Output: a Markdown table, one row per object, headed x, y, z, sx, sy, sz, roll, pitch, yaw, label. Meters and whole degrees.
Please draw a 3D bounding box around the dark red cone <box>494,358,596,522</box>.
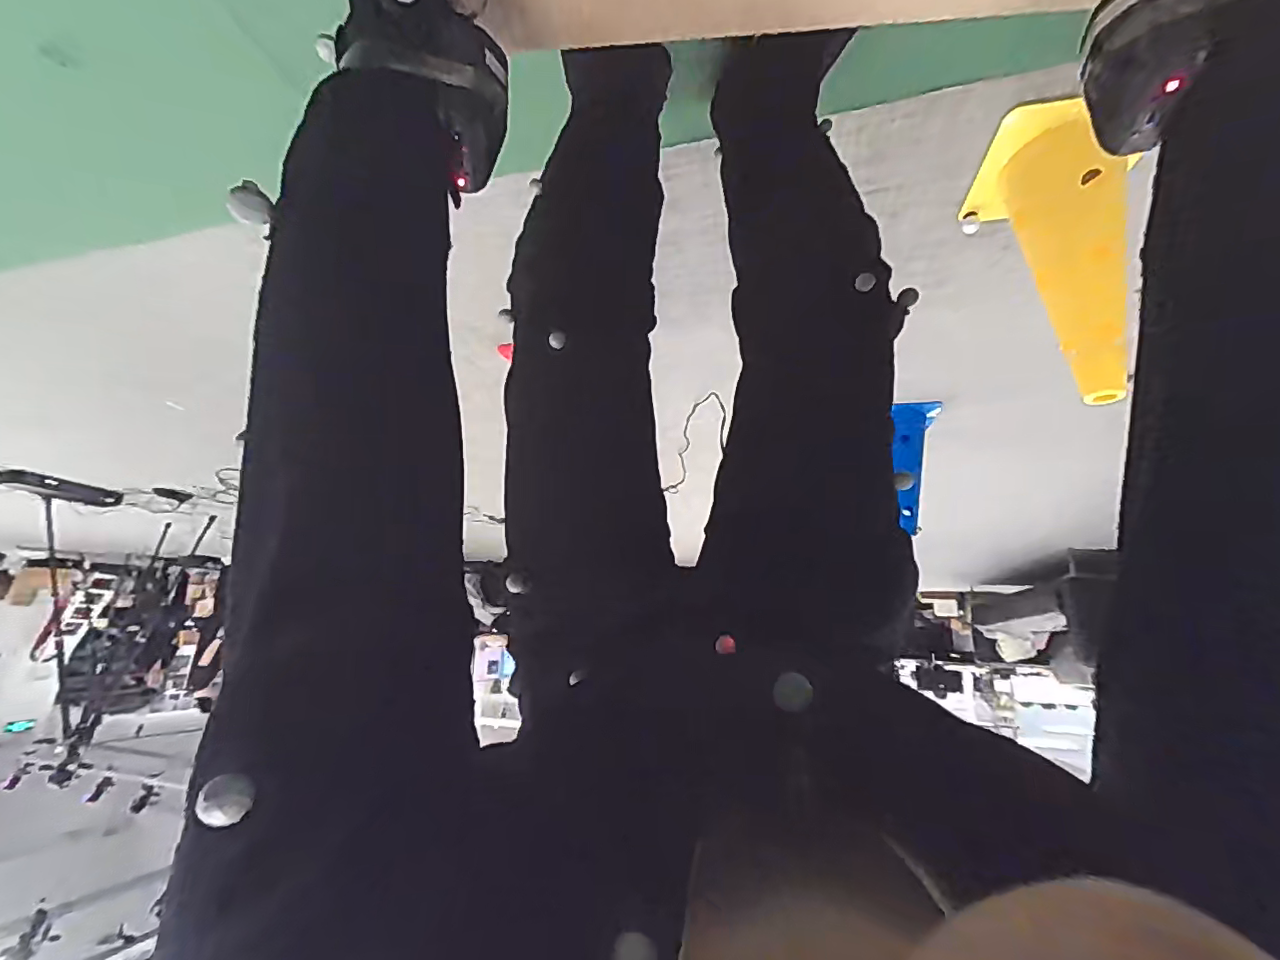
| x | y | z | sx | sy | sz | roll | pitch | yaw | label |
| --- | --- | --- | --- | --- | --- | --- | --- | --- | --- |
| -0.244 | -0.091 | 1.287 | 0.202 | 0.394 | 0.201 | -4 | 158 | 23 | dark red cone |
